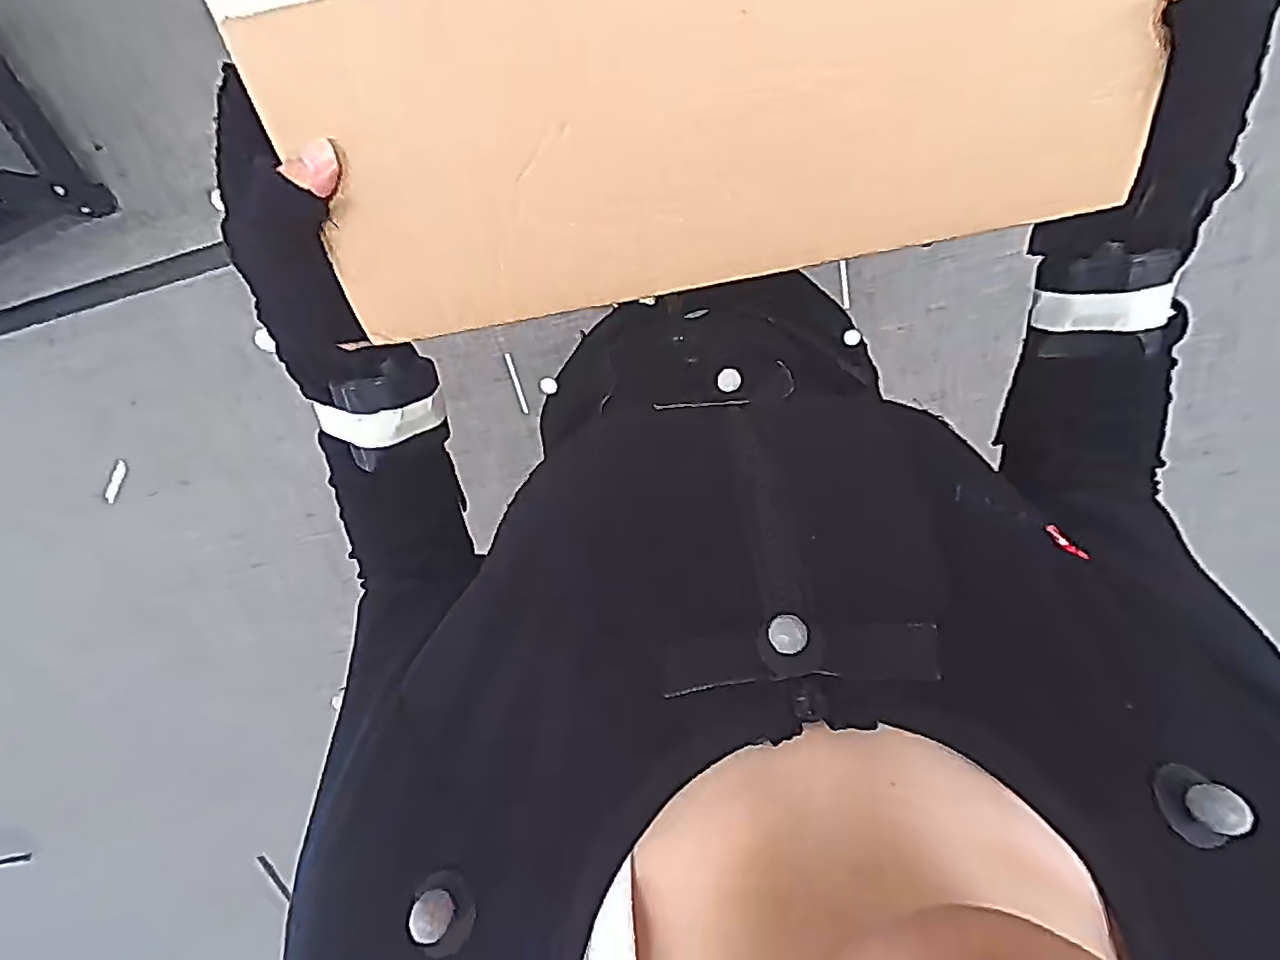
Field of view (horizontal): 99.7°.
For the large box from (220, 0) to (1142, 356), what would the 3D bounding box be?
[{"bbox_3d":[0.014,-0.314,0.342,0.408,0.320,0.320,-9,123,5],"label":"large box"}]
